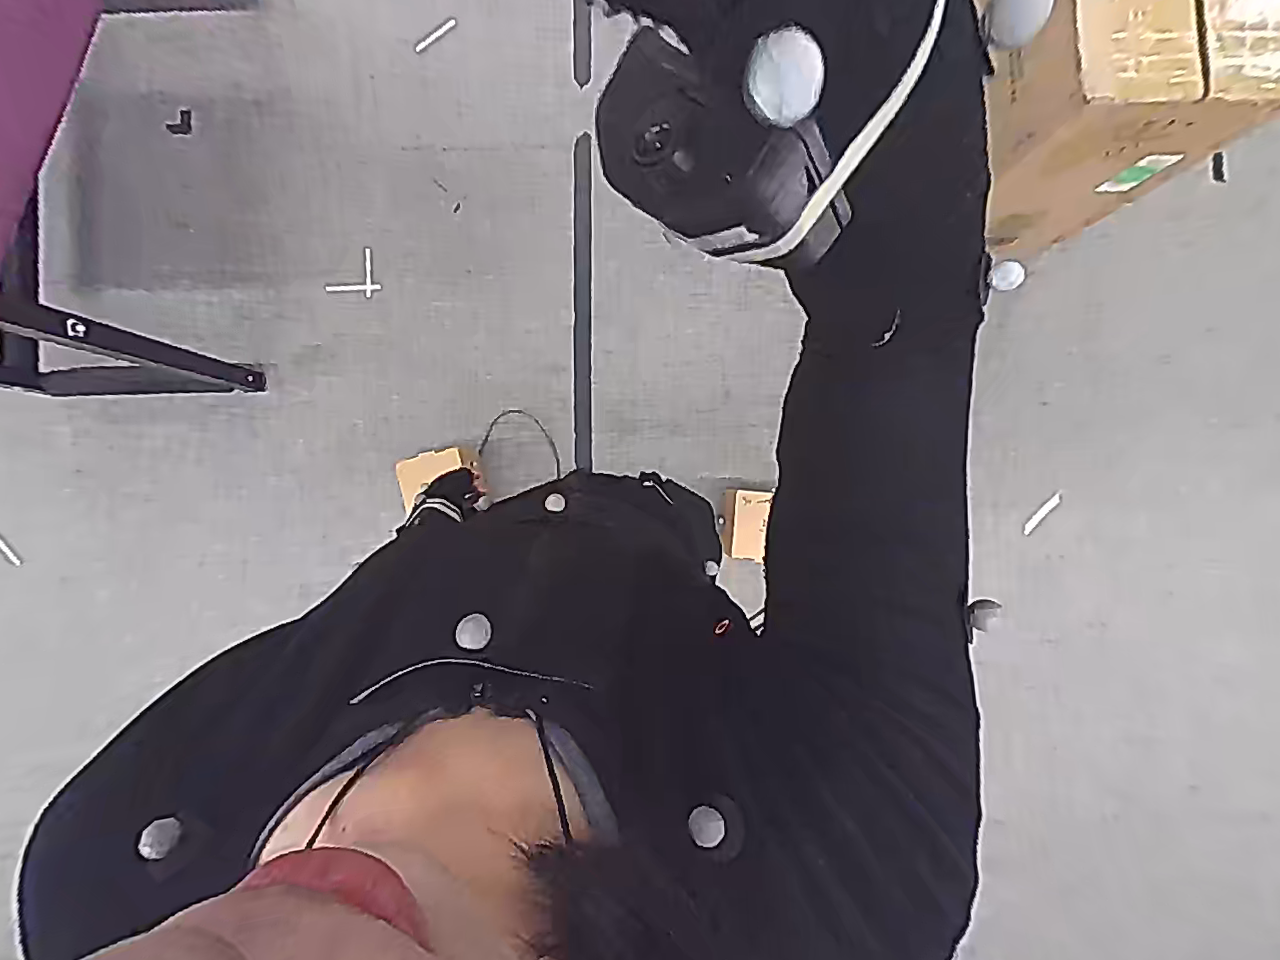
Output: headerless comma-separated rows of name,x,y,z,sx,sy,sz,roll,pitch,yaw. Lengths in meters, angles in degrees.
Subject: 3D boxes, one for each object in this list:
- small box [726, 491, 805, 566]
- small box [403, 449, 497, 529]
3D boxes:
small box,0.328,0.124,1.441,0.168,0.176,0.179,5,89,0
small box,-0.498,0.025,1.435,0.168,0.176,0.179,-14,89,2
